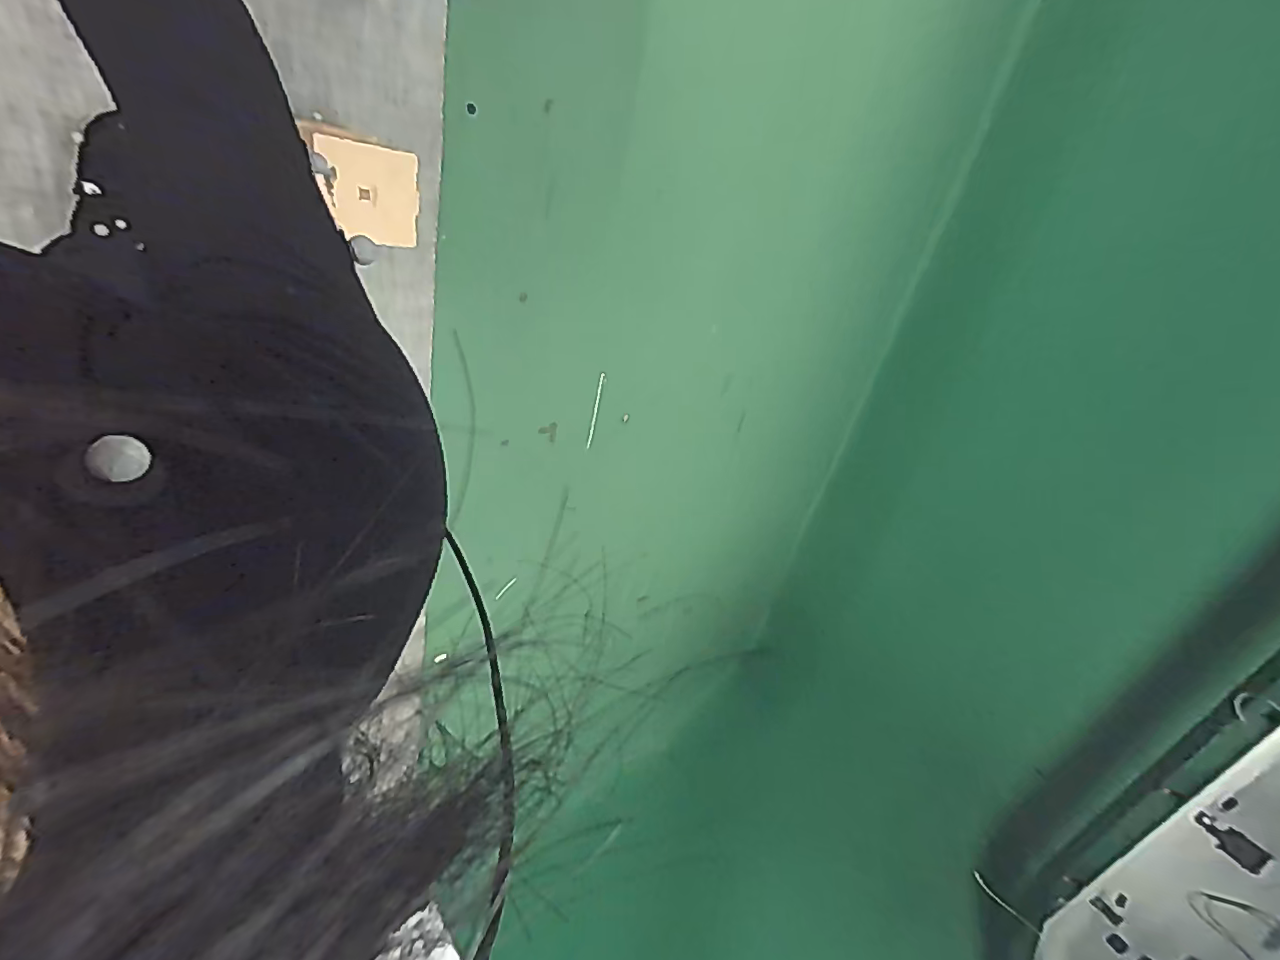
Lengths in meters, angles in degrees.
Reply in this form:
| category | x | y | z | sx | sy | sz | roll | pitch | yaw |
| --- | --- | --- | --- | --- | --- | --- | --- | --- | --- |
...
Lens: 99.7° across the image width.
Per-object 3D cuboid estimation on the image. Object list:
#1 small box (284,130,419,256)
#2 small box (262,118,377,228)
| category | x | y | z | sx | sy | sz | roll | pitch | yaw |
| --- | --- | --- | --- | --- | --- | --- | --- | --- | --- |
| small box | -0.541 | -0.538 | 1.016 | 0.179 | 0.176 | 0.168 | -13 | 129 | -43 |
| small box | -0.653 | -0.618 | 1.108 | 0.168 | 0.176 | 0.179 | -15 | 128 | -41 |
